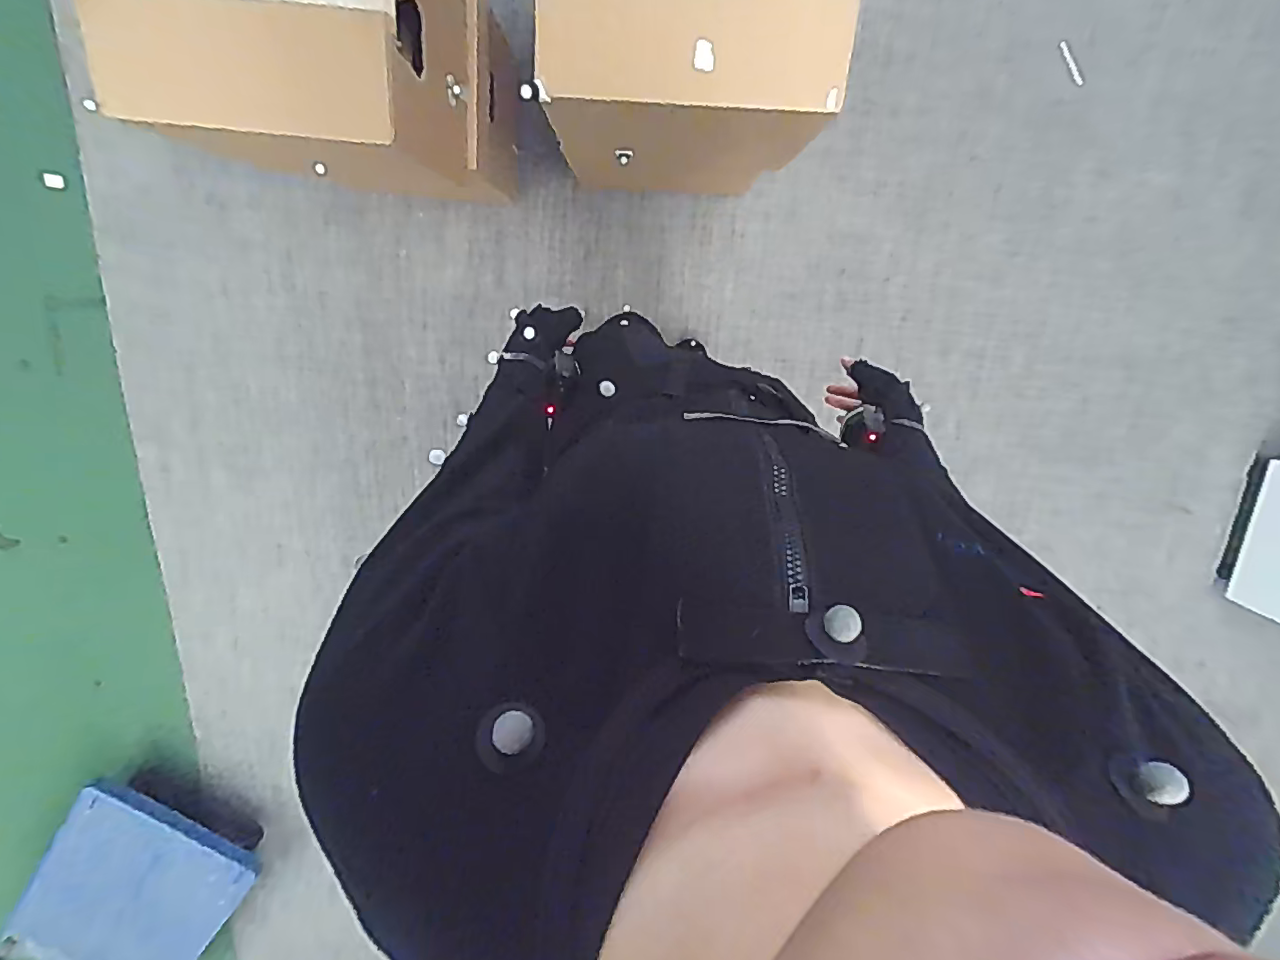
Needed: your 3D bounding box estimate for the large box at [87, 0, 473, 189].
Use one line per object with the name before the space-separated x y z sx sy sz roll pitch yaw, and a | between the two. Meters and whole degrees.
large box | -0.505 -0.658 0.831 0.408 0.320 0.320 7 108 1
